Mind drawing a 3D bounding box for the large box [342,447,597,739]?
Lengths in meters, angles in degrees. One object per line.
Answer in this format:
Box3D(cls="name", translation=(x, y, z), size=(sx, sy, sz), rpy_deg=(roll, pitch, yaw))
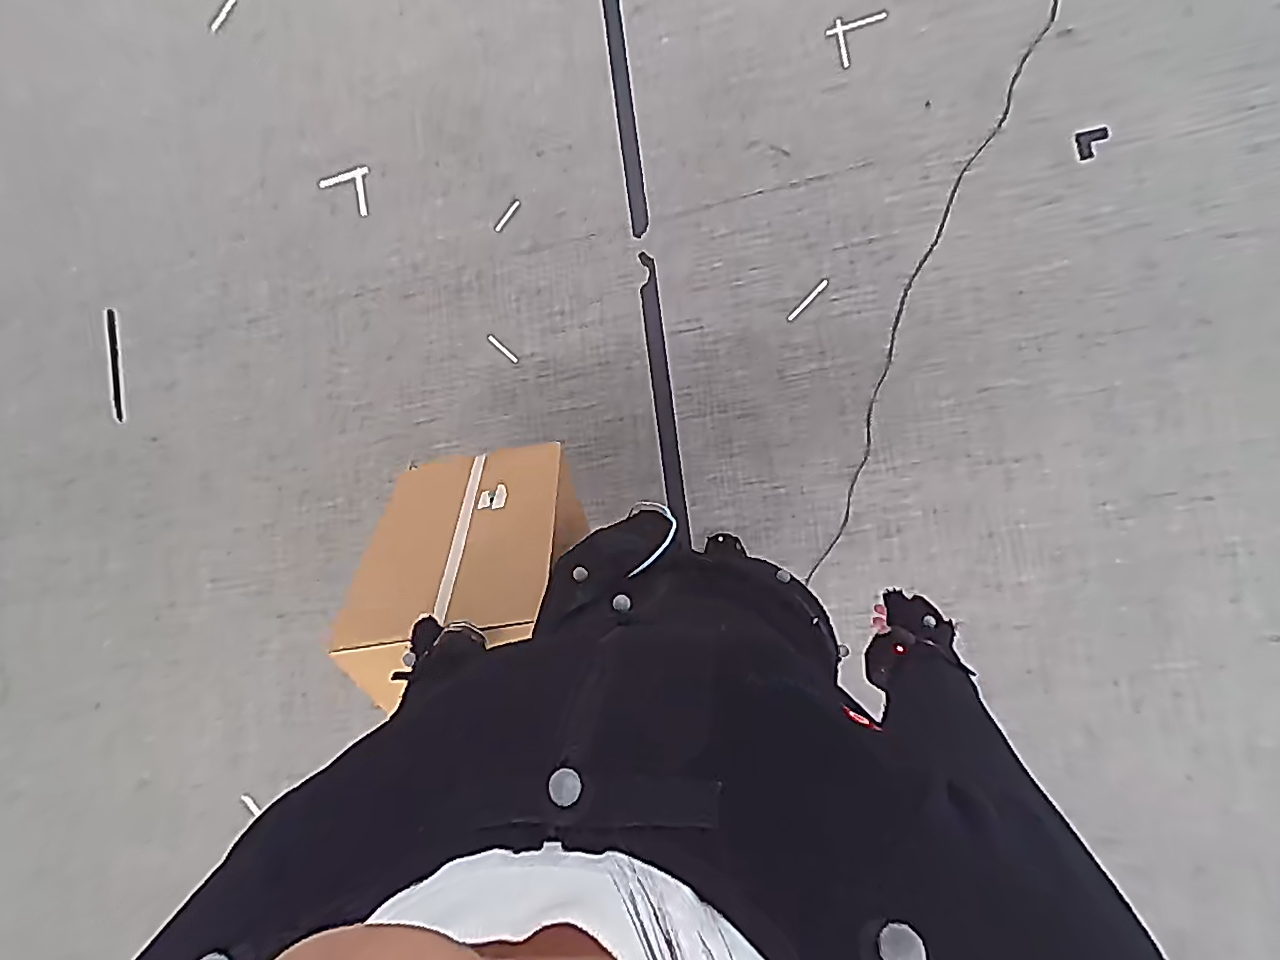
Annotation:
Box3D(cls="large box", translation=(-0.264, 0.199, 1.004), size=(0.320, 0.408, 0.320), rpy_deg=(-9, 130, 4))
